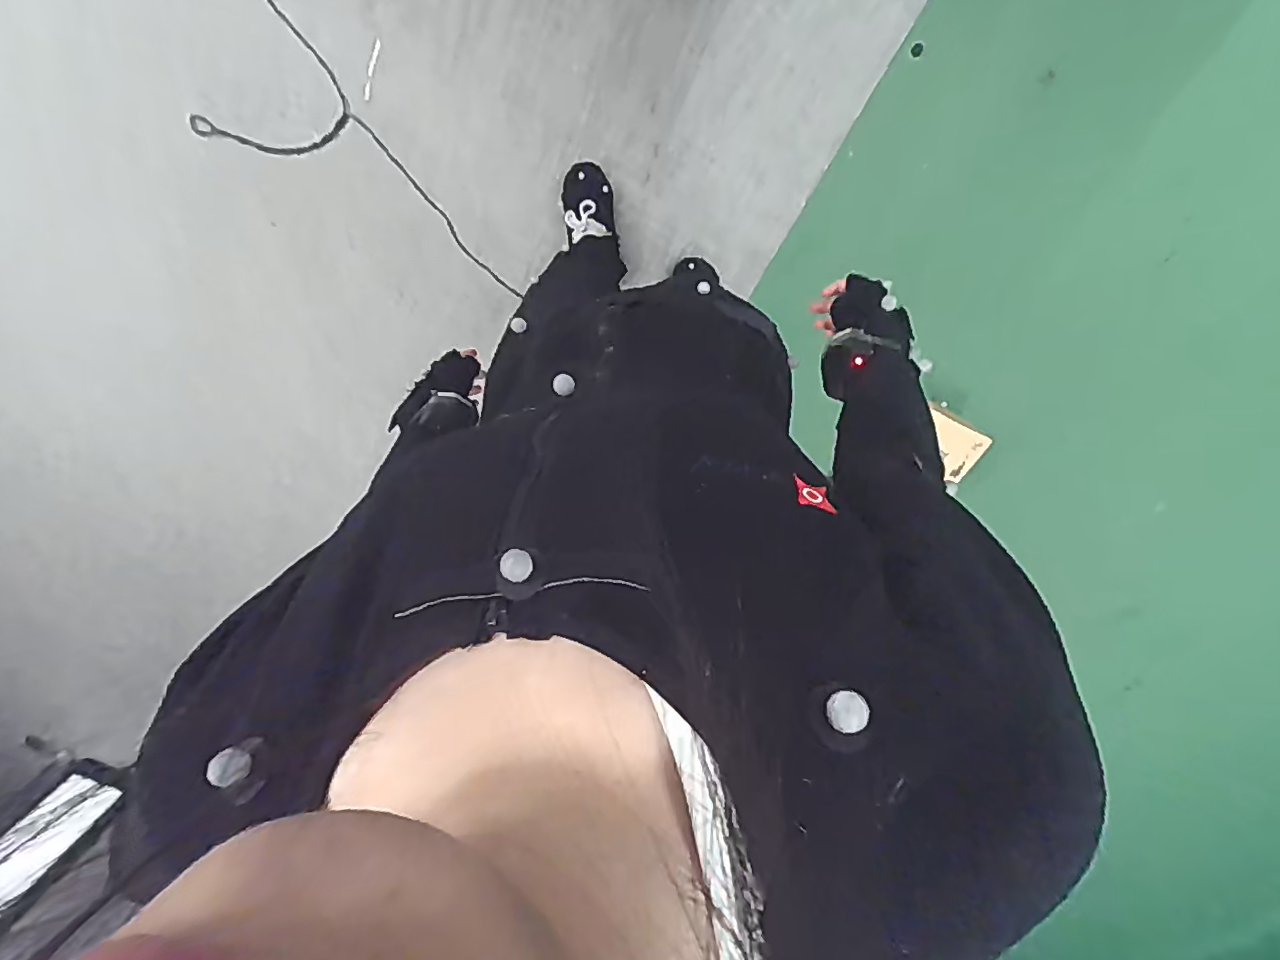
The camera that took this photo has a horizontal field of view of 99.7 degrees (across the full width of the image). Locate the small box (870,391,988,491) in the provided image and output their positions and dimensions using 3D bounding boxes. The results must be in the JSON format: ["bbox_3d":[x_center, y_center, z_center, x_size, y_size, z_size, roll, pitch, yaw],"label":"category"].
[{"bbox_3d":[0.712,-0.107,1.360,0.179,0.176,0.168,26,117,-6],"label":"small box"}]
